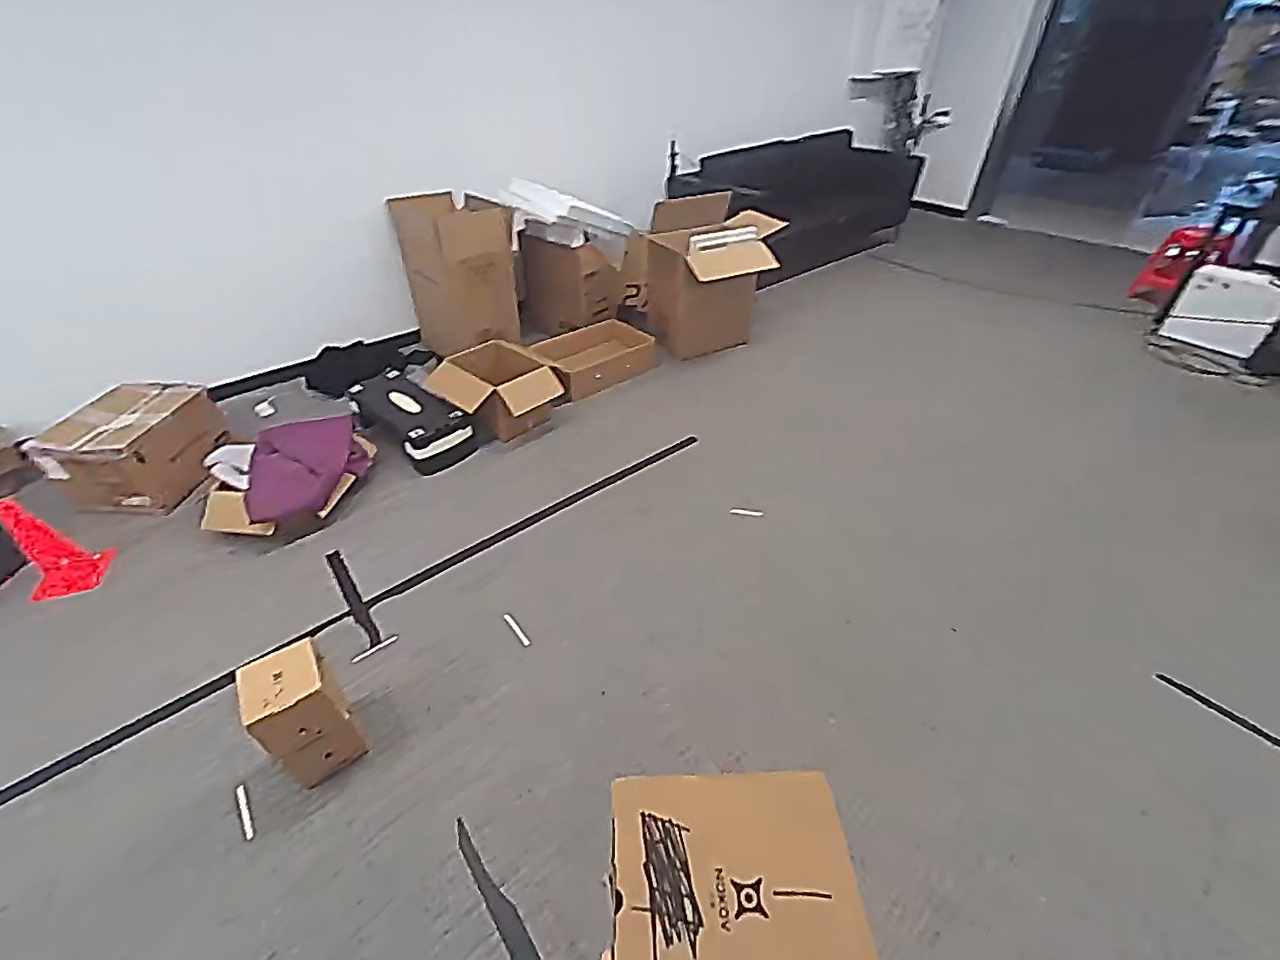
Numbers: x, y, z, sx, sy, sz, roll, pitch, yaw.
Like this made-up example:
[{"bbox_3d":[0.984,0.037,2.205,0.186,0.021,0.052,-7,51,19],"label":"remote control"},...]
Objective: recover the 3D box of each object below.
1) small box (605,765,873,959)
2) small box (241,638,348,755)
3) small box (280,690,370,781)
[{"bbox_3d":[0.064,0.350,0.430,0.179,0.176,0.168,-1,39,-2],"label":"small box"},{"bbox_3d":[-0.854,0.536,1.340,0.168,0.176,0.179,-25,45,-25],"label":"small box"},{"bbox_3d":[-0.852,0.666,1.443,0.168,0.176,0.179,-29,48,-29],"label":"small box"}]
